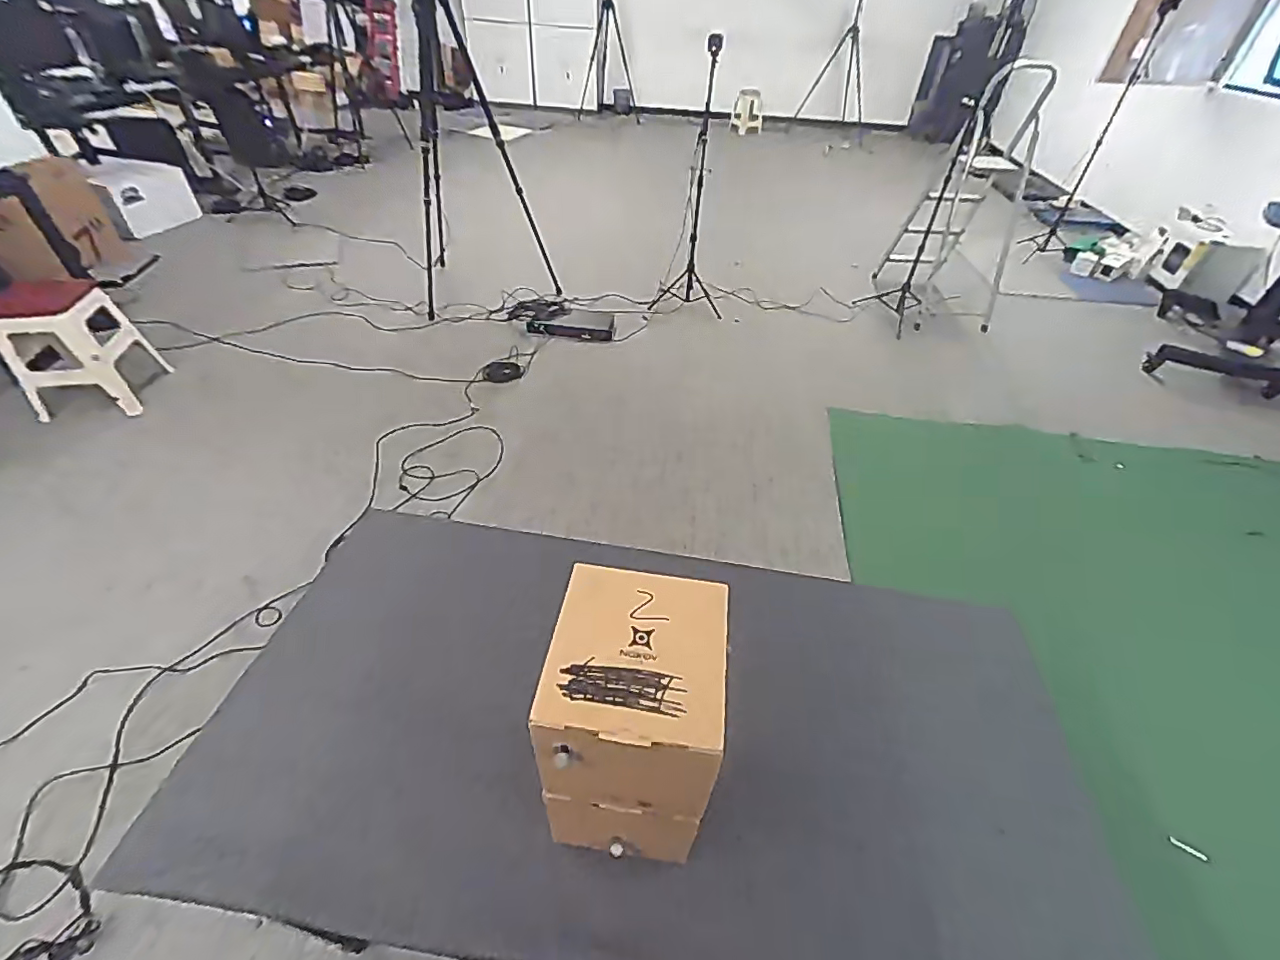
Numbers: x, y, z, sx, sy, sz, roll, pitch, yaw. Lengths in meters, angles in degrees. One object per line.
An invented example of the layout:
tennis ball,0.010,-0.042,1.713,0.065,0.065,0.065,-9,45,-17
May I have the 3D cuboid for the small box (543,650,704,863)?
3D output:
small box,-0.017,0.343,0.675,0.168,0.176,0.179,7,43,4
